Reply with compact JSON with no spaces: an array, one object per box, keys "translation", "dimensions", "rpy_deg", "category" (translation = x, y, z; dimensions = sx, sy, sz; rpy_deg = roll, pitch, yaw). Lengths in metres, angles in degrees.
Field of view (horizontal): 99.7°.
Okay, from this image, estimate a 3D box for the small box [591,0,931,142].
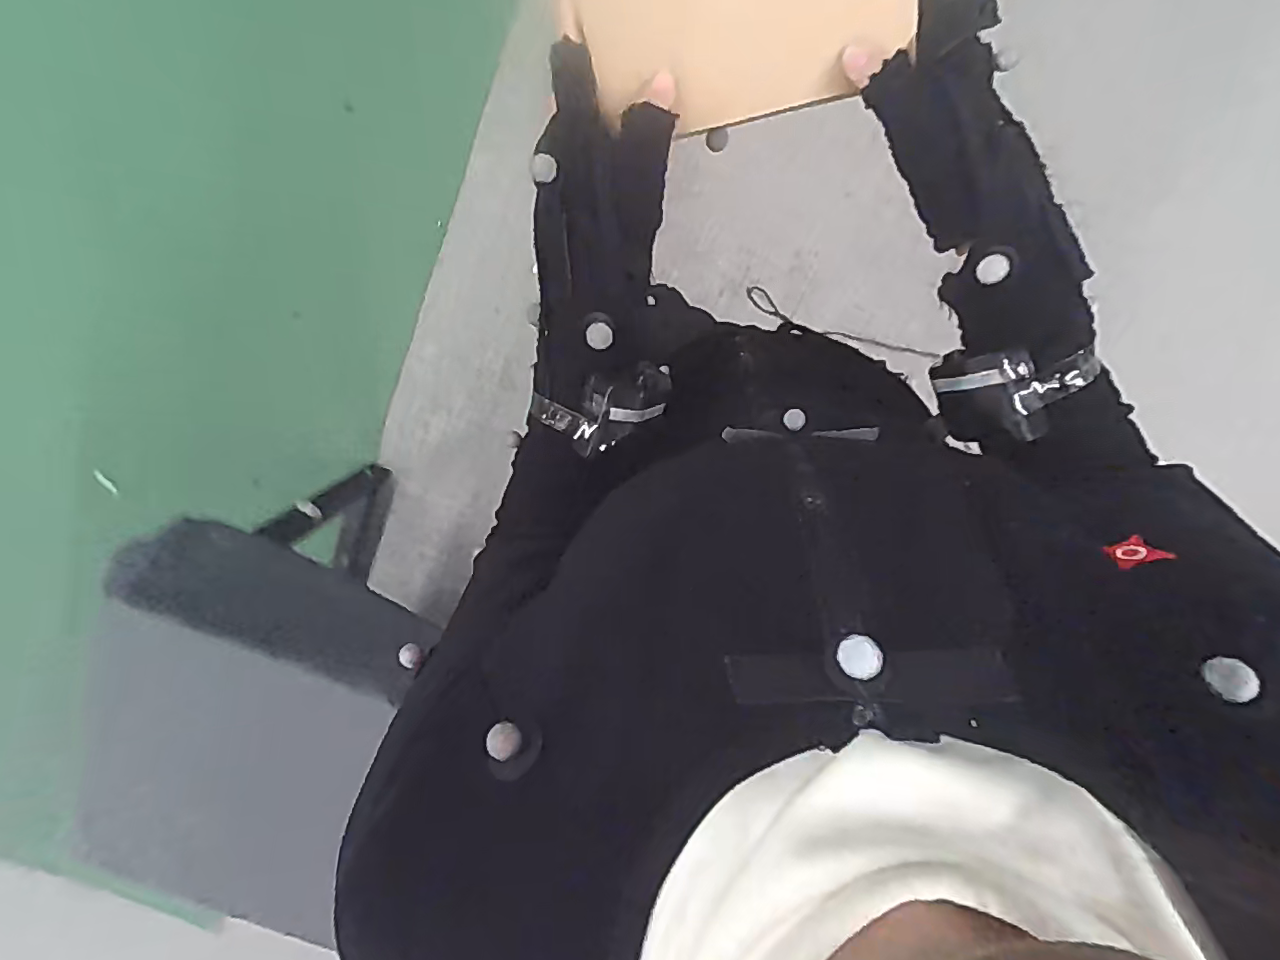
[{"translation":[0.058,-0.327,0.337],"dimensions":[0.179,0.176,0.168],"rpy_deg":[-11,119,8],"category":"small box"}]
